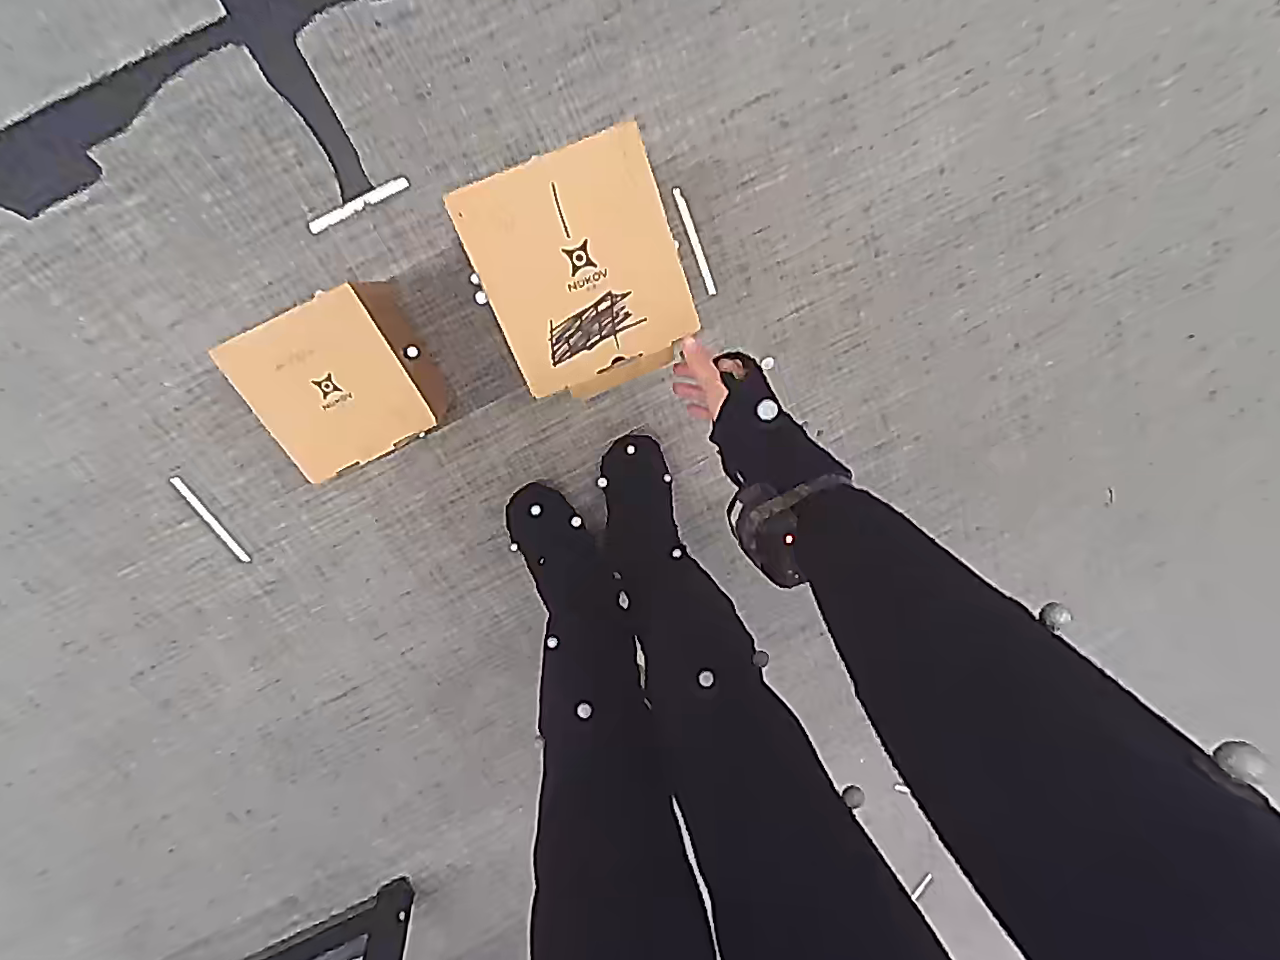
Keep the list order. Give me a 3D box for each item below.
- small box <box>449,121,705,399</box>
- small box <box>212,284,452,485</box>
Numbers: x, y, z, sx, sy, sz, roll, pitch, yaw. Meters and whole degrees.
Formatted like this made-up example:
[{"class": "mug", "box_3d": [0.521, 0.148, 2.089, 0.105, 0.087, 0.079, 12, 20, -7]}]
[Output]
[{"class": "small box", "box_3d": [-0.058, -0.203, 0.520, 0.168, 0.176, 0.179, -23, 113, -3]}, {"class": "small box", "box_3d": [-0.353, -0.127, 0.666, 0.168, 0.176, 0.179, -28, 113, -2]}]
